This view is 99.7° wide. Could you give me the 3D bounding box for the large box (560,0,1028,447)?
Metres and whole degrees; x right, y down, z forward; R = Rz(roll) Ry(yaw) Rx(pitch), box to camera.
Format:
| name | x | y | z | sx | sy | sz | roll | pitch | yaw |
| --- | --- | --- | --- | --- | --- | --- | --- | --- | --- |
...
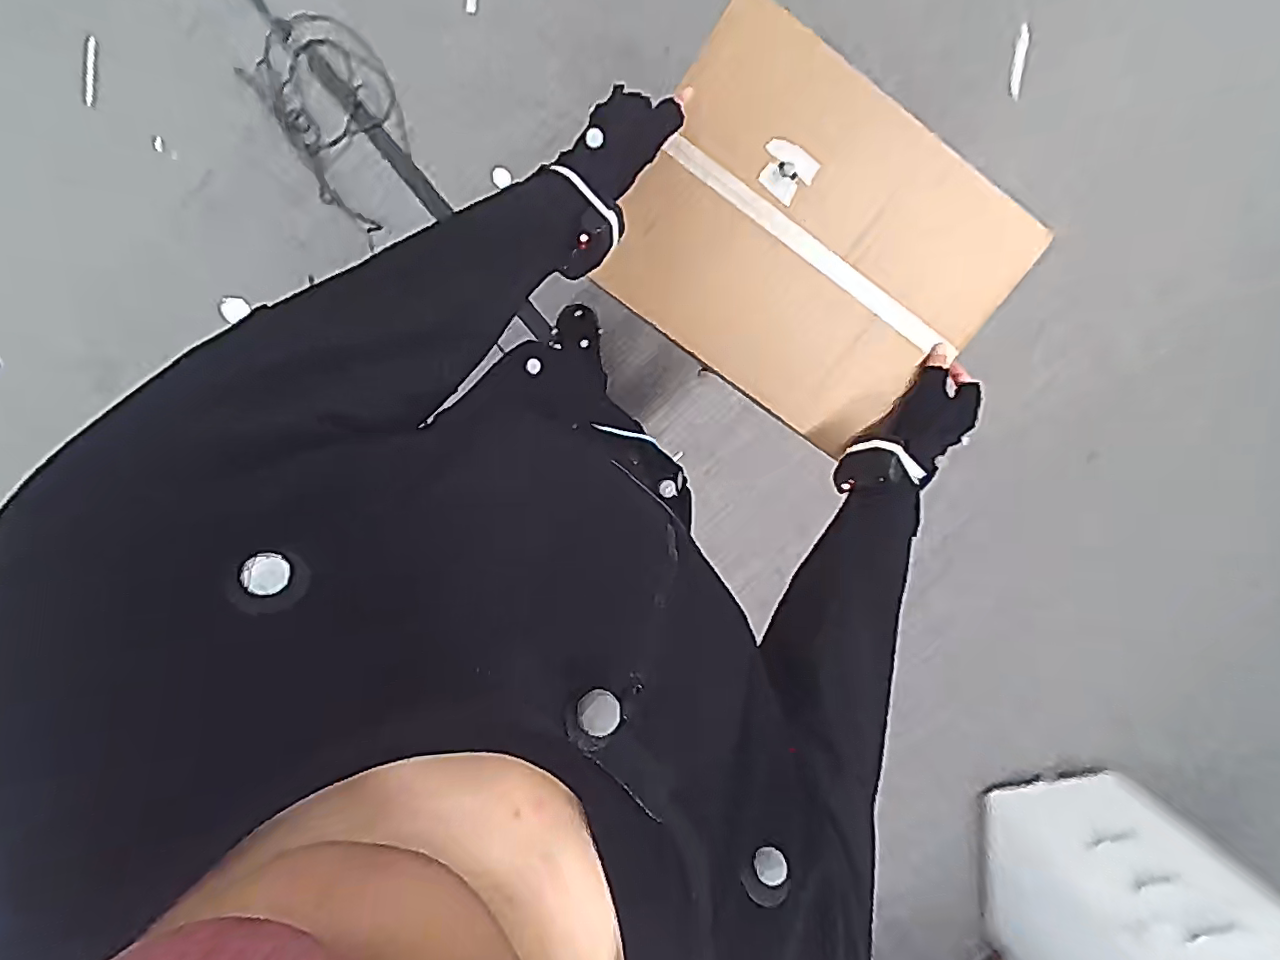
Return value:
| name | x | y | z | sx | sy | sz | roll | pitch | yaw |
| --- | --- | --- | --- | --- | --- | --- | --- | --- | --- |
| large box | 0.167 | -0.298 | 0.721 | 0.408 | 0.320 | 0.320 | 34 | 102 | -5 |
